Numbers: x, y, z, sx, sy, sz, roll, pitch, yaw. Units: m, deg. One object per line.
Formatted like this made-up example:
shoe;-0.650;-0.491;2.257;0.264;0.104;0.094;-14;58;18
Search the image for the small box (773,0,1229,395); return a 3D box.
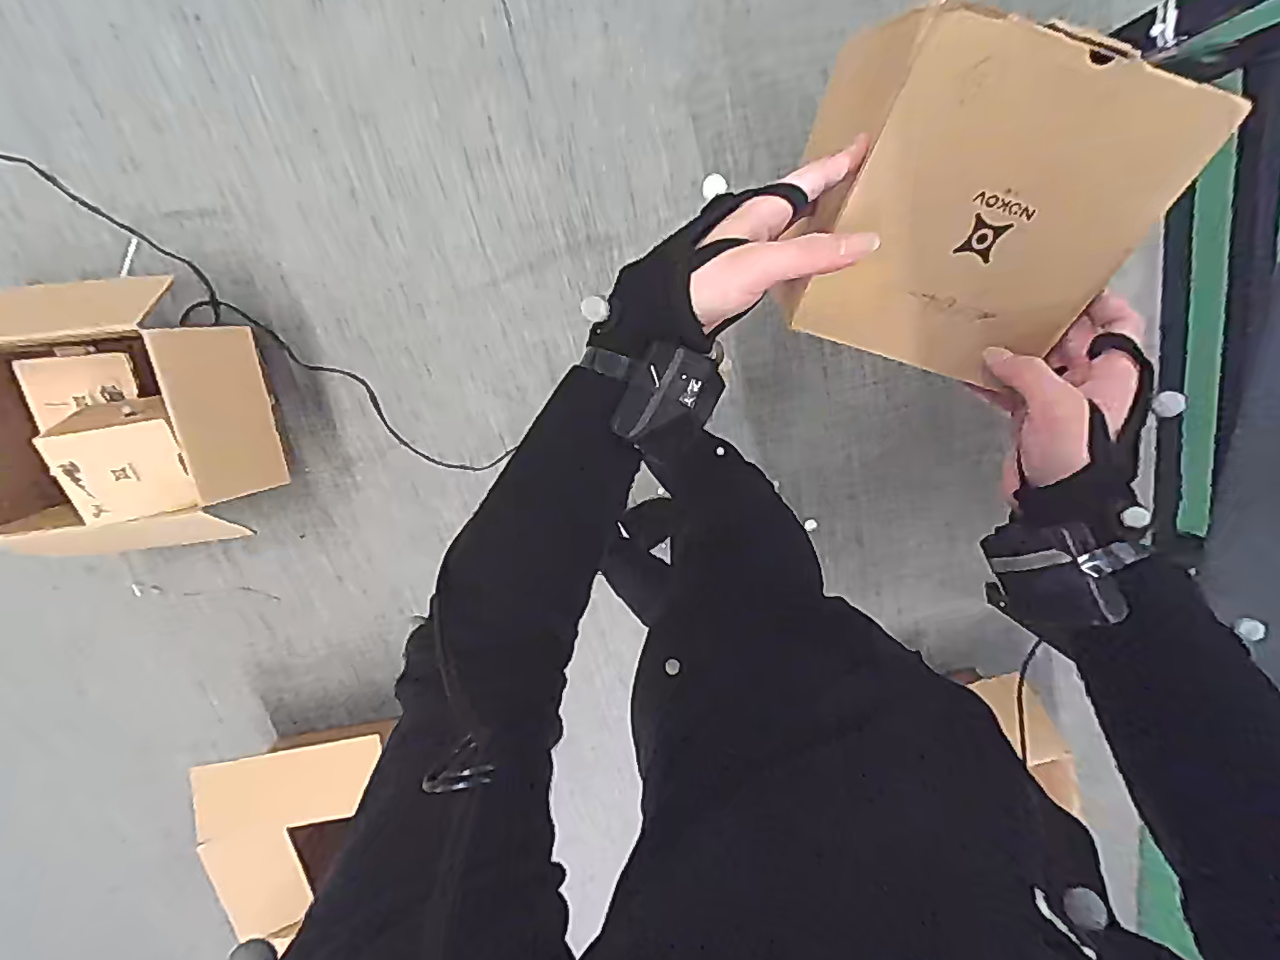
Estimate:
small box;0.205;-0.191;0.378;0.168;0.176;0.179;15;124;-5
